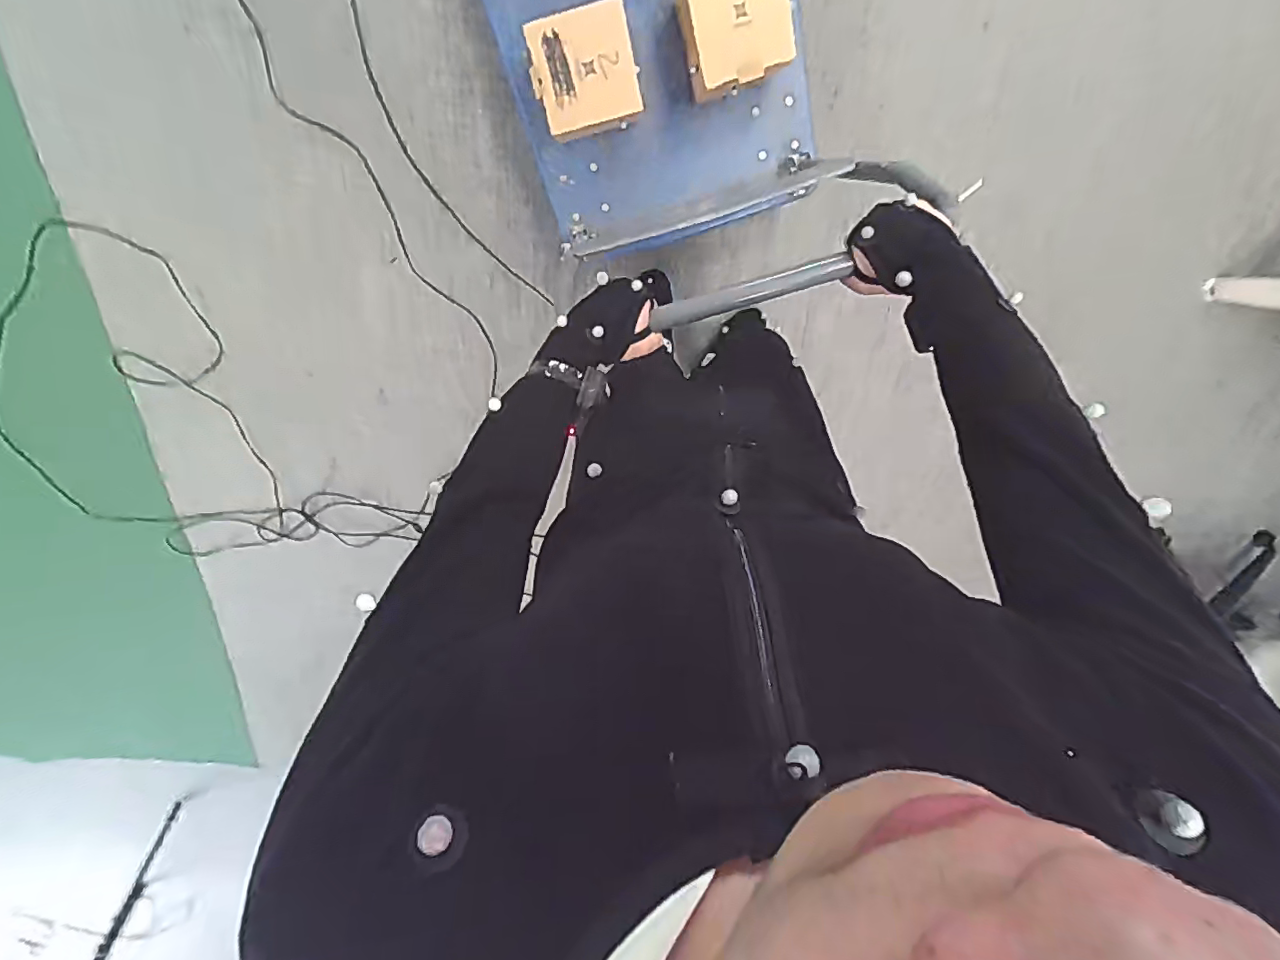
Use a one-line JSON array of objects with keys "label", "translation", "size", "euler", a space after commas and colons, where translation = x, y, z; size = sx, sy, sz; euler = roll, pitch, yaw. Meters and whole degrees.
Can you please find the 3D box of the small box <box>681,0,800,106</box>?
[{"label": "small box", "translation": [0.176, -0.814, 0.981], "size": [0.168, 0.176, 0.179], "euler": [-15, 118, 7]}]
